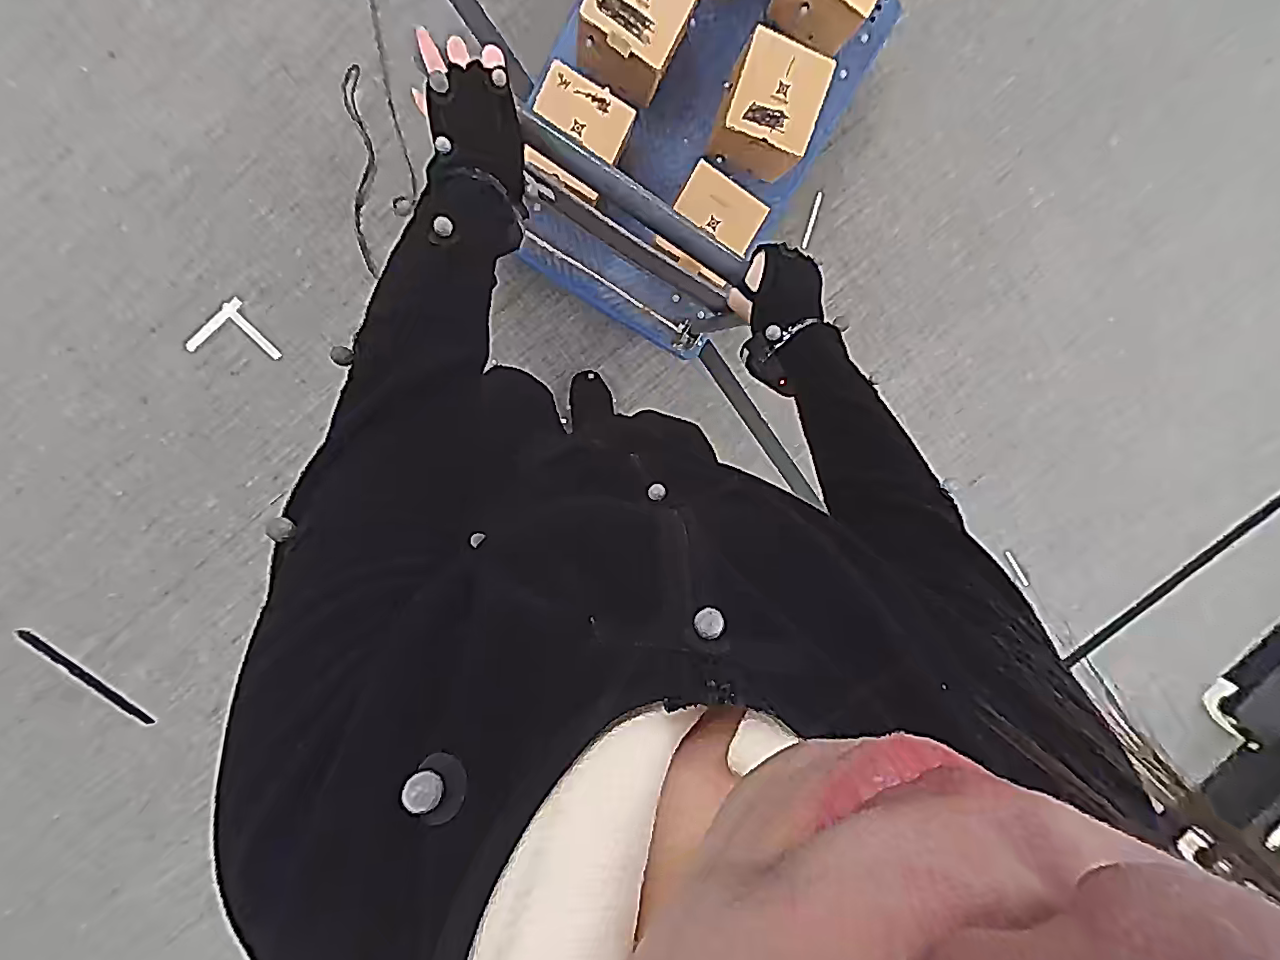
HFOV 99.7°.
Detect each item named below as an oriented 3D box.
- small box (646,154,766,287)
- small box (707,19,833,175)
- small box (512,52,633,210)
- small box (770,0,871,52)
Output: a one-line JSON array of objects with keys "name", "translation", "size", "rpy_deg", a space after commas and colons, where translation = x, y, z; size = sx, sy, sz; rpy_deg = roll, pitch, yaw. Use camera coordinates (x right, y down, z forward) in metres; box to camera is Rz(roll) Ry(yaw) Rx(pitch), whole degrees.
[{"name": "small box", "translation": [0.125, -0.522, 1.121], "size": [0.168, 0.176, 0.179], "rpy_deg": [30, 98, -14]}, {"name": "small box", "translation": [0.246, -0.746, 1.079], "size": [0.168, 0.176, 0.179], "rpy_deg": [17, 100, -12]}, {"name": "small box", "translation": [-0.130, -0.658, 1.049], "size": [0.168, 0.176, 0.179], "rpy_deg": [26, 100, -14]}, {"name": "small box", "translation": [0.371, -0.984, 1.037], "size": [0.168, 0.176, 0.179], "rpy_deg": [26, 99, -13]}]
